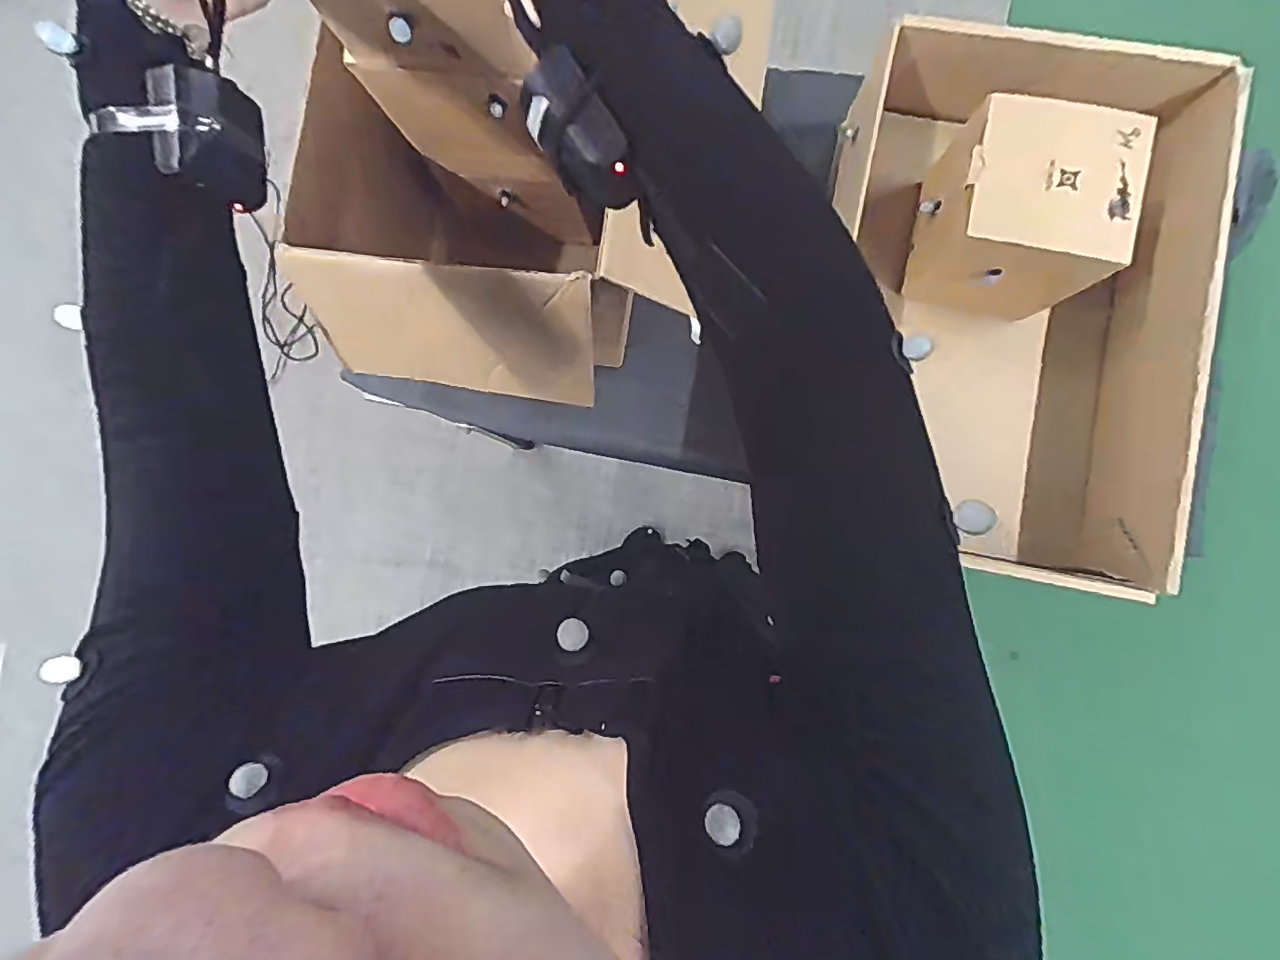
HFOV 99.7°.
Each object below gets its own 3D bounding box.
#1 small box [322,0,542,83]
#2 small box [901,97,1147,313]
[{"bbox_3d":[-0.166,-0.447,0.397,0.168,0.176,0.179,11,91,4],"label":"small box"},{"bbox_3d":[0.447,-0.320,0.662,0.179,0.176,0.168,12,89,4],"label":"small box"}]
